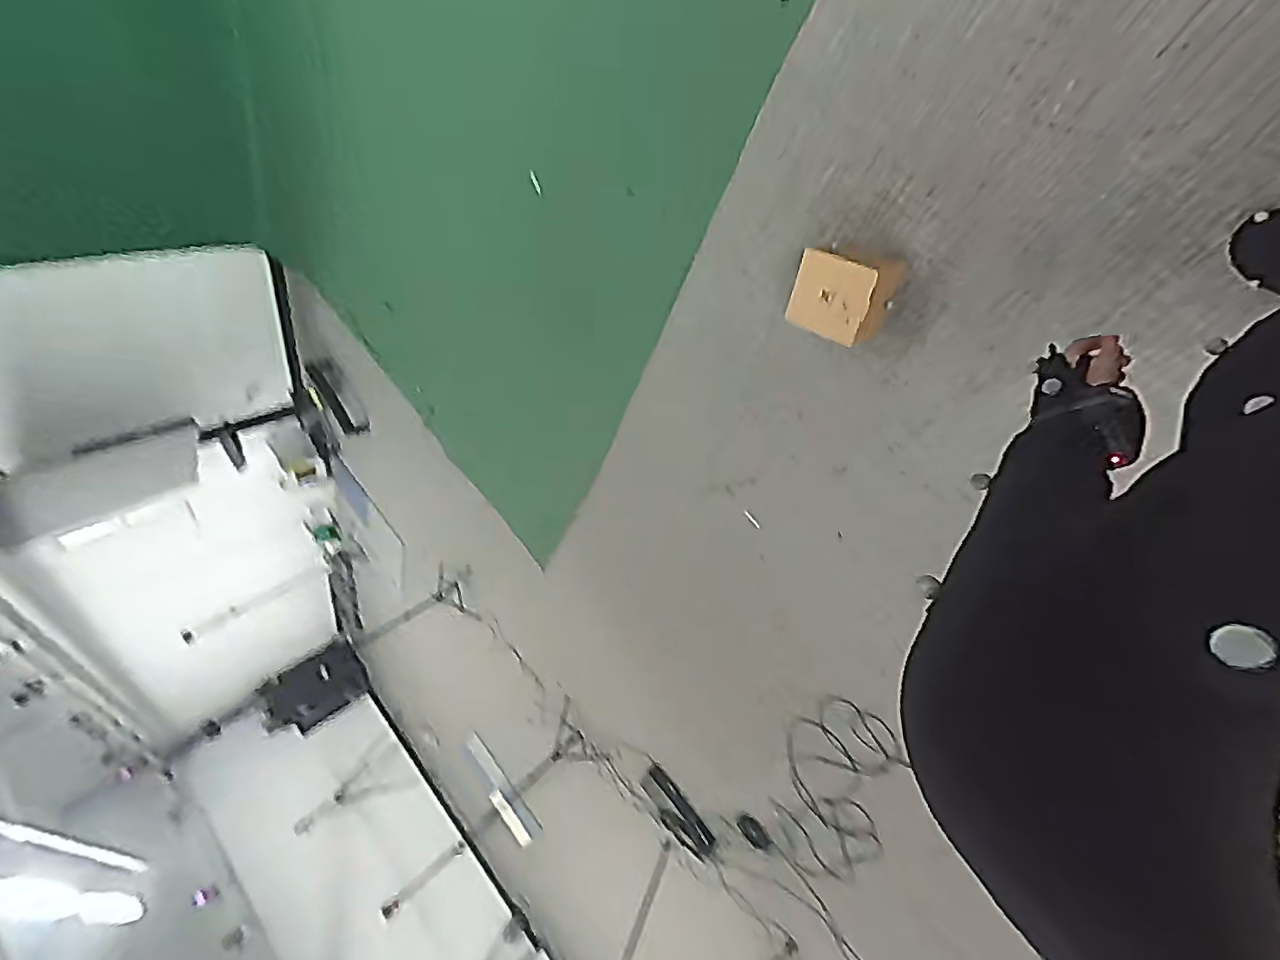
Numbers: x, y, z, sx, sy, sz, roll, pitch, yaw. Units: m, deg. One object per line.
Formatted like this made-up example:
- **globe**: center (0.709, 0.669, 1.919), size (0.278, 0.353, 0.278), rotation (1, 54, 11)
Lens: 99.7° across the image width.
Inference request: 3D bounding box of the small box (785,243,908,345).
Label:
- **small box**: center (0.467, -0.429, 1.225), size (0.179, 0.176, 0.168), rotation (34, 134, 29)
